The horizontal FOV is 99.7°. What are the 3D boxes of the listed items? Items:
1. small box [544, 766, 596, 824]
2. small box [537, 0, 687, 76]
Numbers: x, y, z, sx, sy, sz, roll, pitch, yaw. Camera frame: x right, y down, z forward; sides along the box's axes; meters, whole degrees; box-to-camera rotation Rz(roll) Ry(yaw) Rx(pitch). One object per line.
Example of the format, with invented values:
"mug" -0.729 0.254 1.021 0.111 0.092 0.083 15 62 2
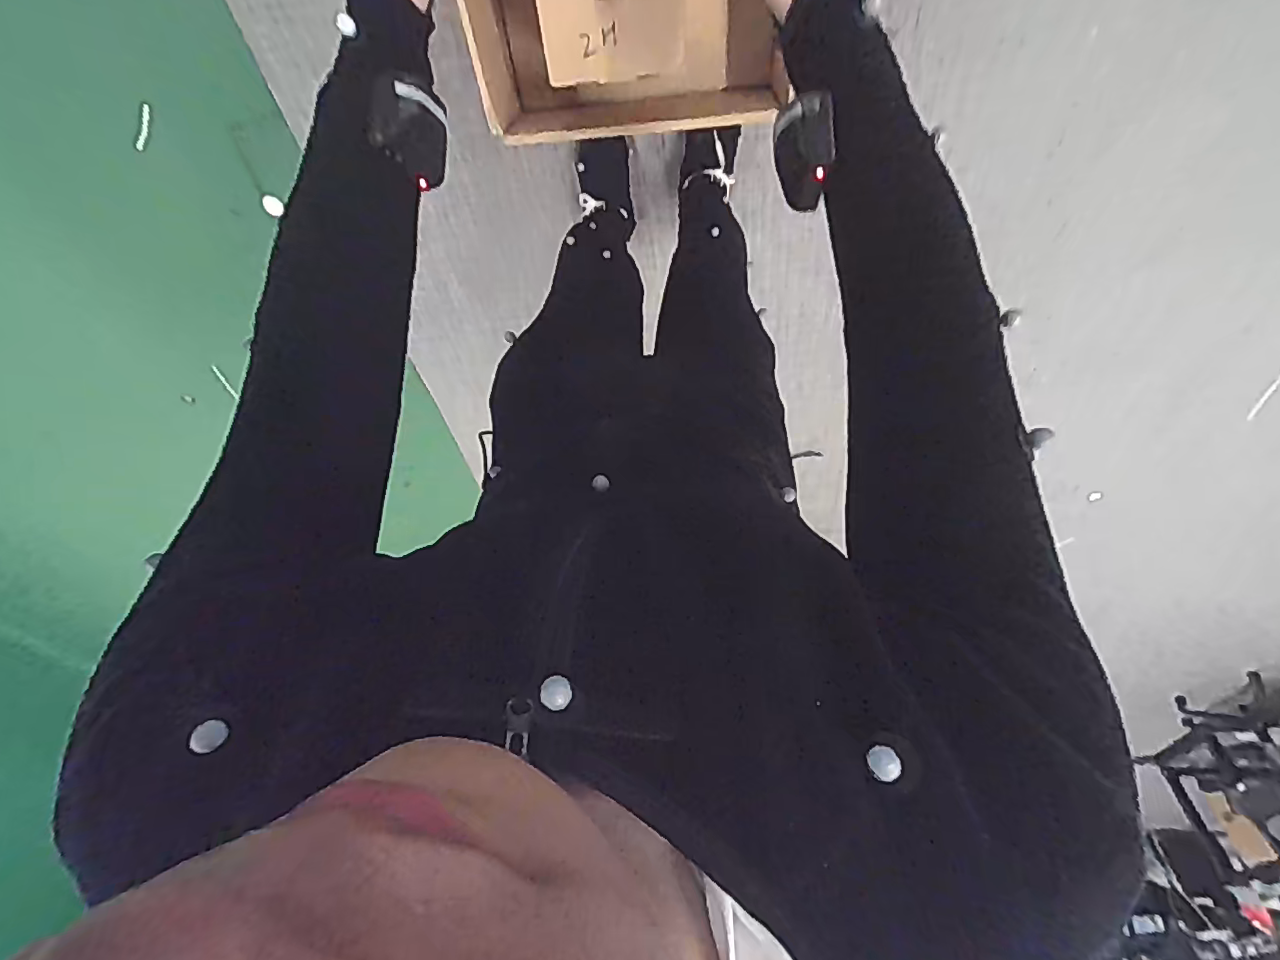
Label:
"small box" -0.279 1.273 2.187 0.168 0.176 0.179 -4 135 9
"small box" -0.030 -0.601 0.633 0.168 0.176 0.179 -1 136 6
